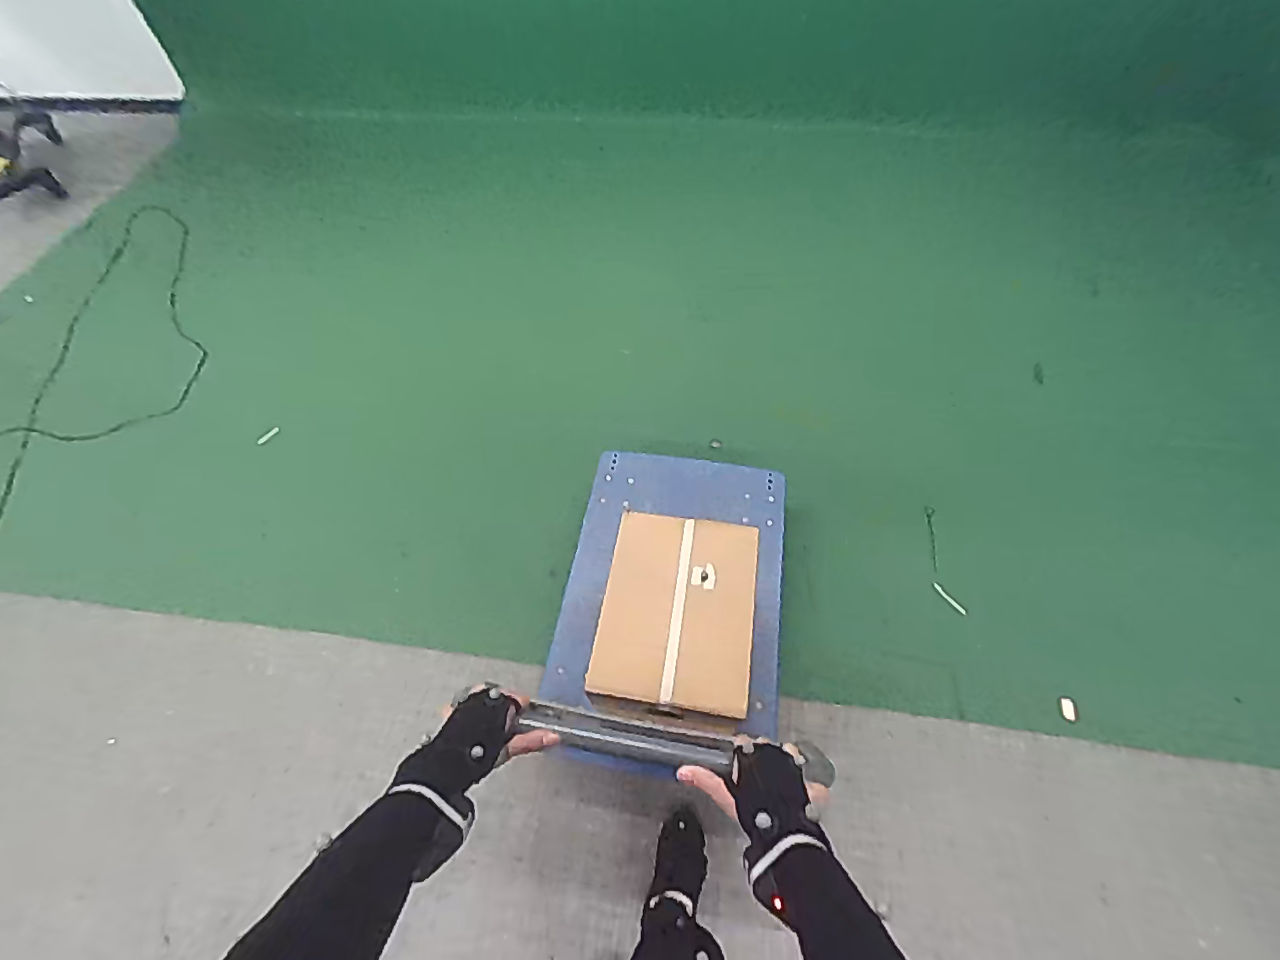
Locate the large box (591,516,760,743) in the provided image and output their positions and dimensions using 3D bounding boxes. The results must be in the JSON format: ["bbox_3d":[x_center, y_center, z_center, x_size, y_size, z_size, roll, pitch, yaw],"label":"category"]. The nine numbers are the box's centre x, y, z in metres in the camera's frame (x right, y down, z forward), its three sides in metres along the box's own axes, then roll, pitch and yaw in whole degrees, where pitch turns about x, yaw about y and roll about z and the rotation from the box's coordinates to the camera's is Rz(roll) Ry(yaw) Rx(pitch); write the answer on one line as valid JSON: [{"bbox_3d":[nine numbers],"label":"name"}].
[{"bbox_3d":[0.093,0.345,1.238,0.320,0.320,0.408,8,57,7],"label":"large box"}]
